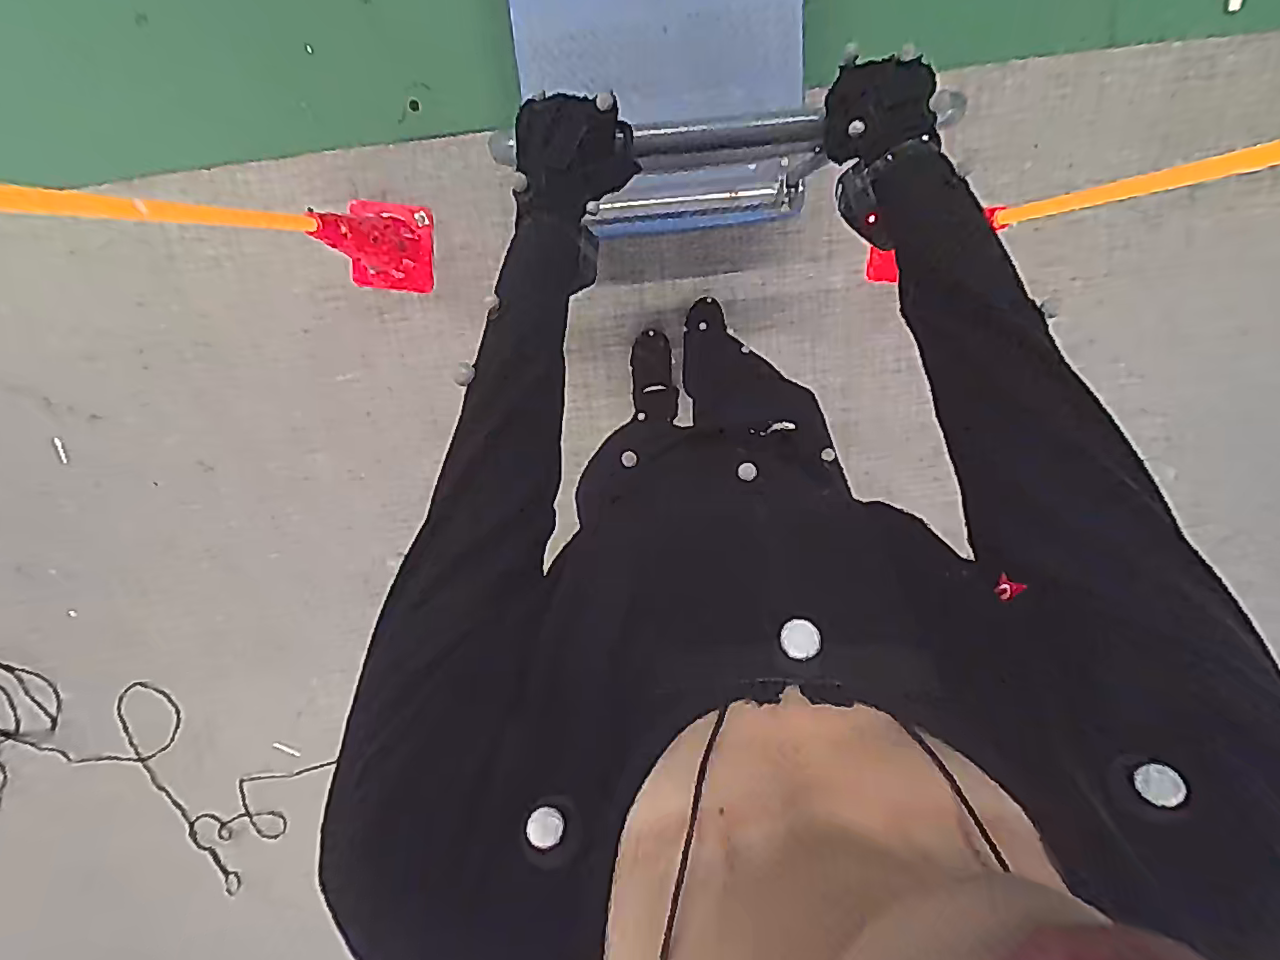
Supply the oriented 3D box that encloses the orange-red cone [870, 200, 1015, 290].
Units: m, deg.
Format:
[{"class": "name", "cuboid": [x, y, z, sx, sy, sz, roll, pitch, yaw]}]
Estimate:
[{"class": "orange-red cone", "cuboid": [0.686, -0.535, 1.184, 0.198, 0.360, 0.199, 4, 107, -2]}]
